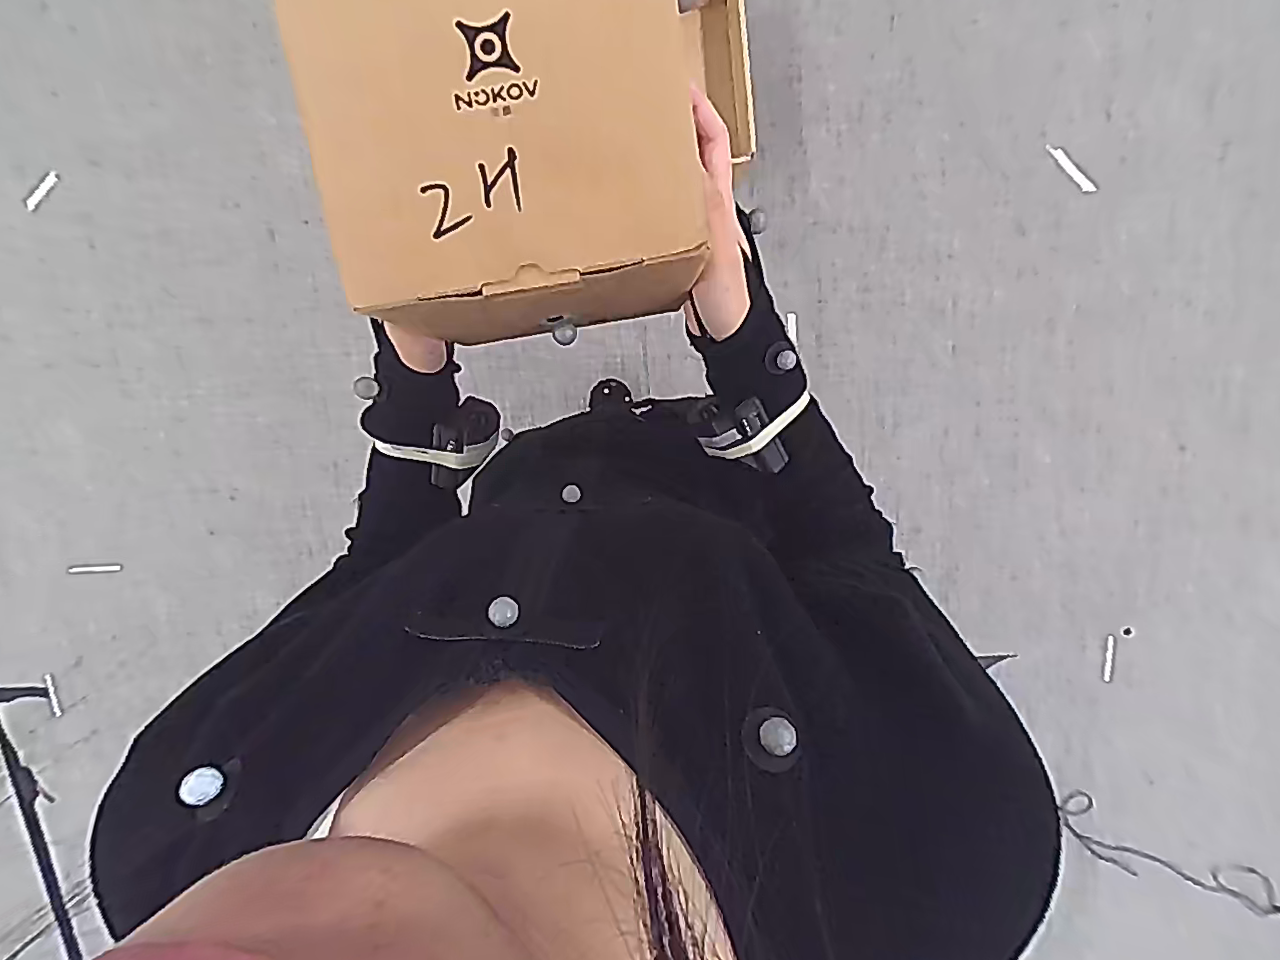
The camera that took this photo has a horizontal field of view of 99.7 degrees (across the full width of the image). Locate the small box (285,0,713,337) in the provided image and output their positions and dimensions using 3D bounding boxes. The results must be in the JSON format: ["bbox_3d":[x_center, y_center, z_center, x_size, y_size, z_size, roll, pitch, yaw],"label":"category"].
[{"bbox_3d":[-0.062,-0.189,0.306,0.168,0.176,0.179,-9,99,1],"label":"small box"}]
